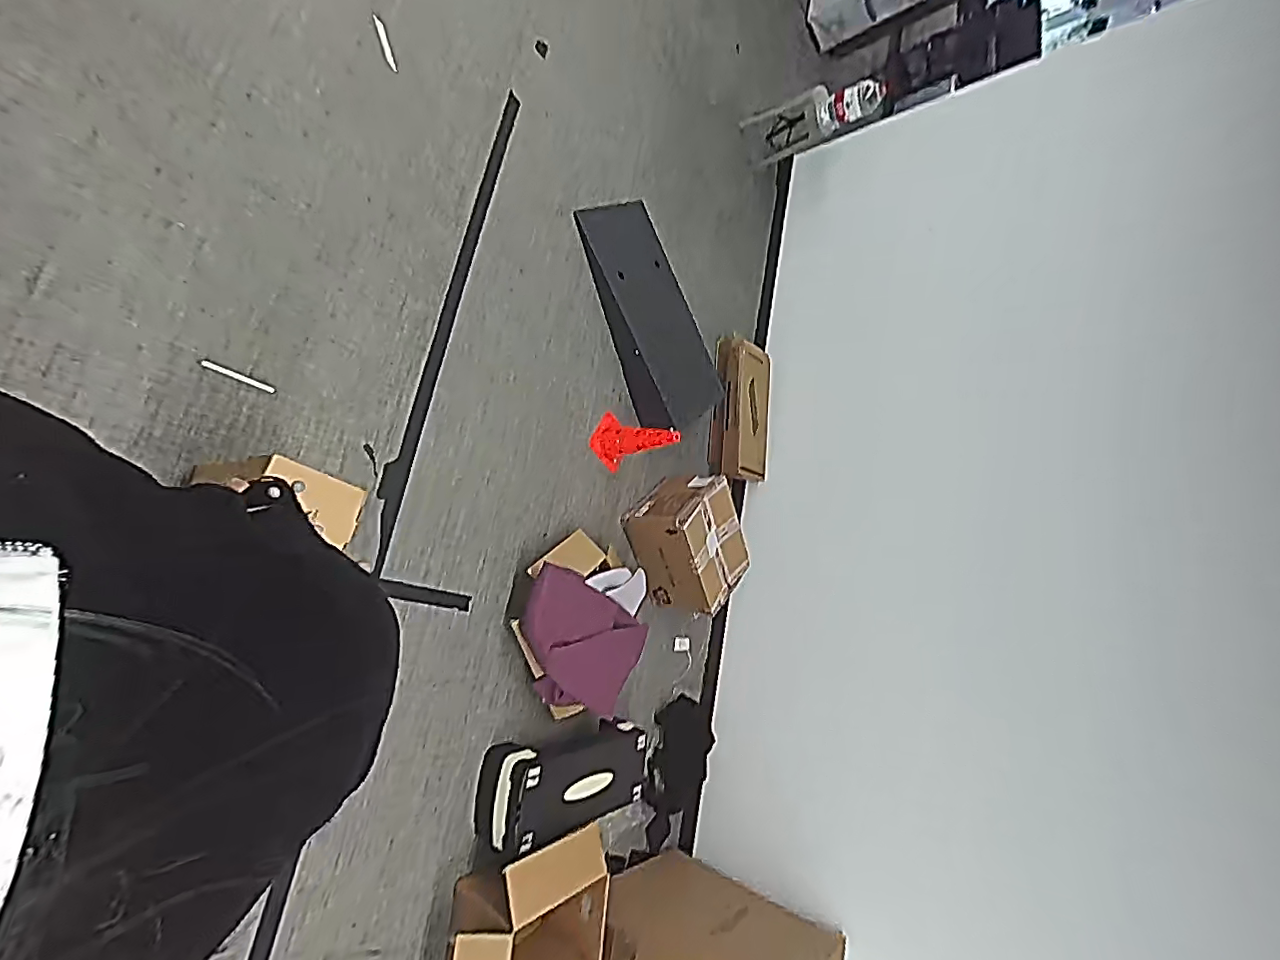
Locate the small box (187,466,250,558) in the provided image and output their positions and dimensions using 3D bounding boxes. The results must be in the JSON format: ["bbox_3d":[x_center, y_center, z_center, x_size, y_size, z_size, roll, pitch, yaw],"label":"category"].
[{"bbox_3d":[-0.777,0.075,1.108,0.179,0.176,0.168,28,68,-47],"label":"small box"}]

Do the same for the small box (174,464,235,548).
[{"bbox_3d":[-0.905,0.071,1.212,0.168,0.176,0.179,23,73,-49],"label":"small box"}]

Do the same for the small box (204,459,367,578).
[{"bbox_3d":[-0.654,0.071,1.001,0.179,0.176,0.168,35,62,-44],"label":"small box"}]
